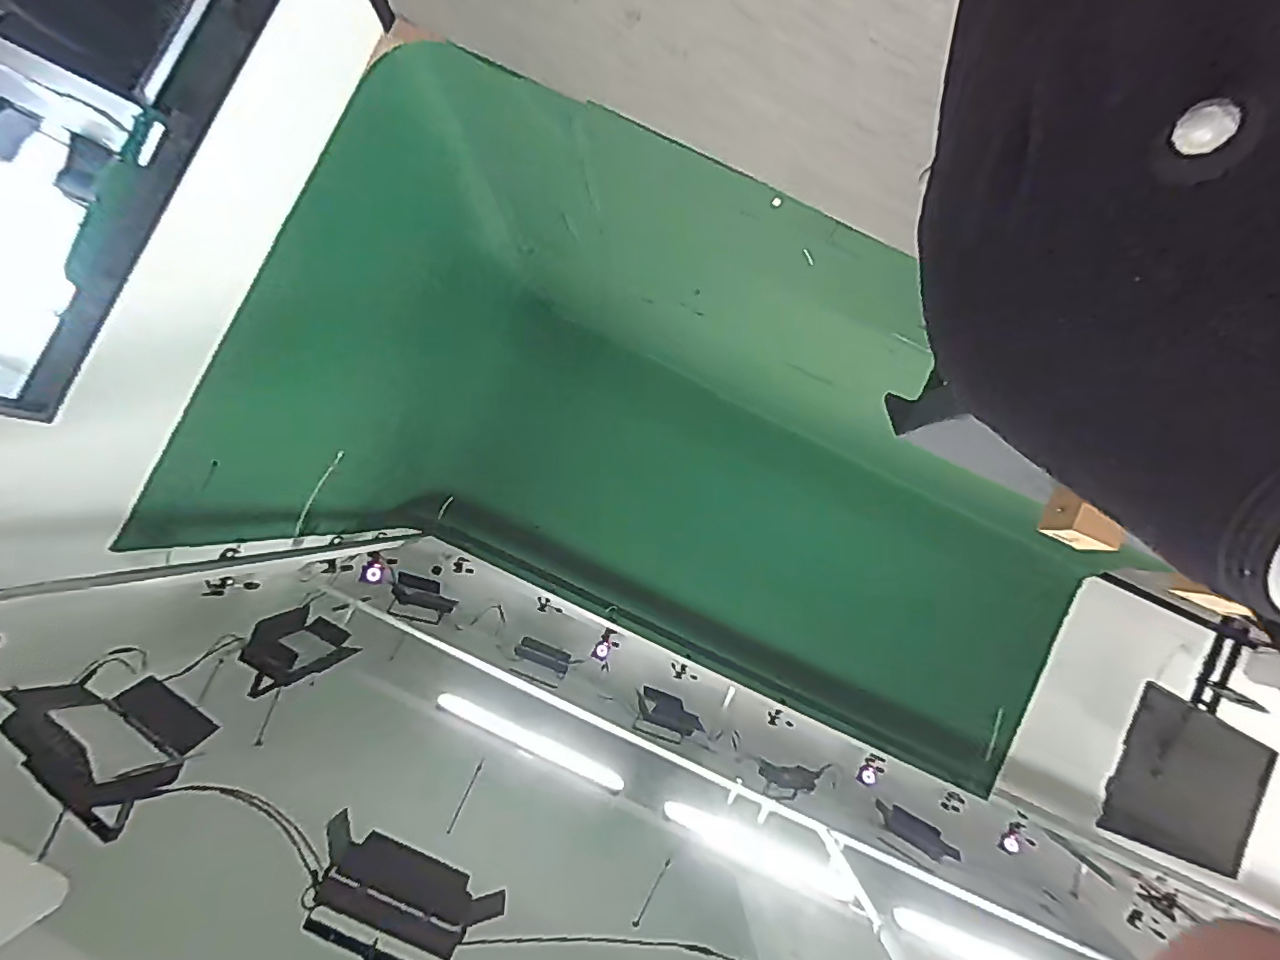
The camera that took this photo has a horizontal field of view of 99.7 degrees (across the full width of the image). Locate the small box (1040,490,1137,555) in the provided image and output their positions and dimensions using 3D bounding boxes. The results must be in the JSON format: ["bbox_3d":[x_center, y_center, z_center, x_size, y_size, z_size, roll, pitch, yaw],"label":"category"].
[{"bbox_3d":[1.563,0.146,1.884,0.168,0.176,0.179,26,176,4],"label":"small box"}]

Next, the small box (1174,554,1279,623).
[{"bbox_3d":[2.012,0.365,1.850,0.168,0.176,0.179,26,176,6],"label":"small box"}]
